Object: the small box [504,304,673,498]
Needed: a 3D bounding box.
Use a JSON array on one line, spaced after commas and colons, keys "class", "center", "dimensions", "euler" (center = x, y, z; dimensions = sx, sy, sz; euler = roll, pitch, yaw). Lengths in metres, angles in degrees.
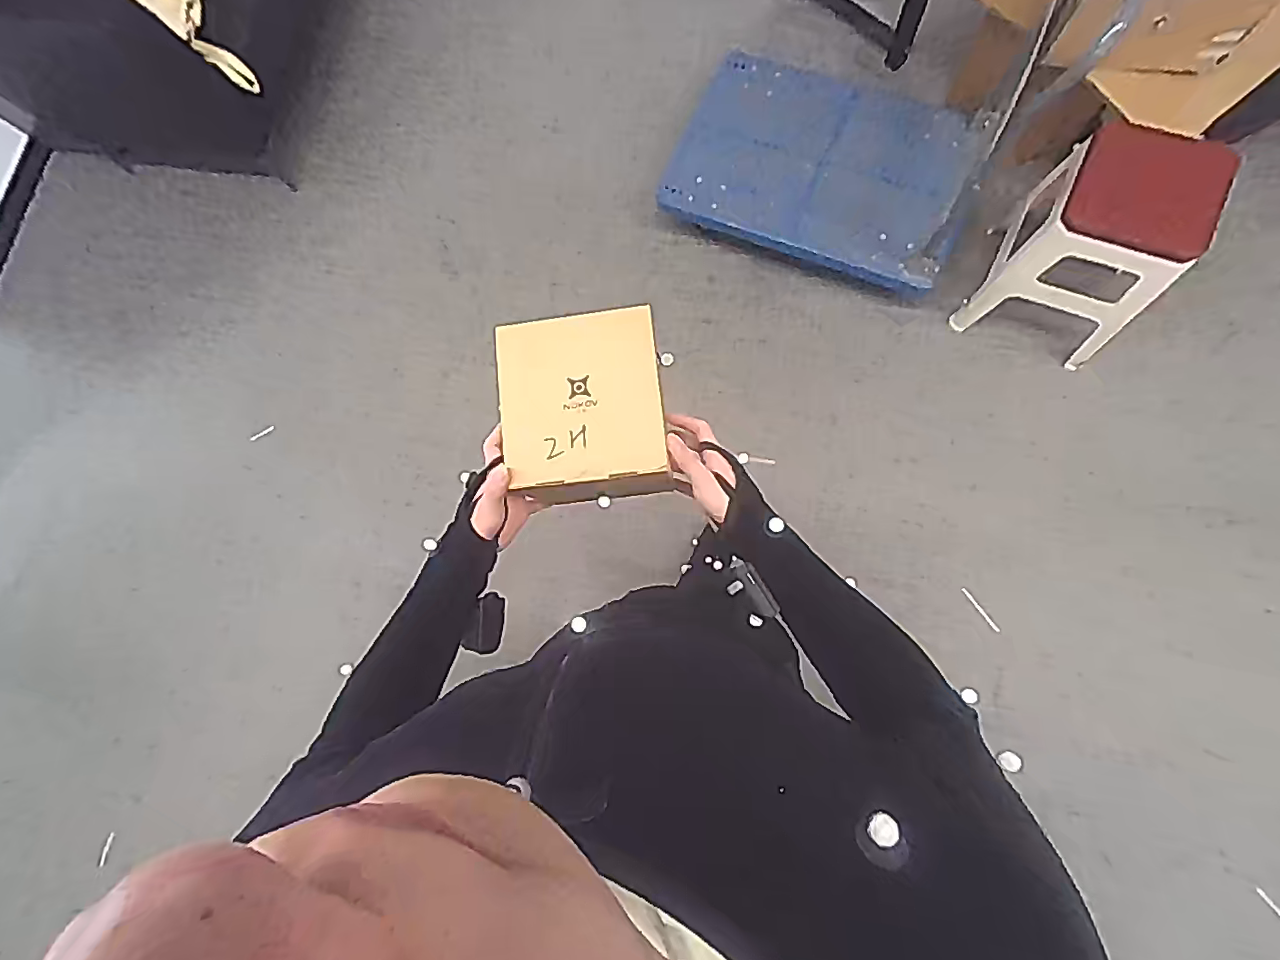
[{"class": "small box", "center": [-0.051, -0.080, 0.636], "dimensions": [0.168, 0.176, 0.179], "euler": [-6, 82, 5]}]
